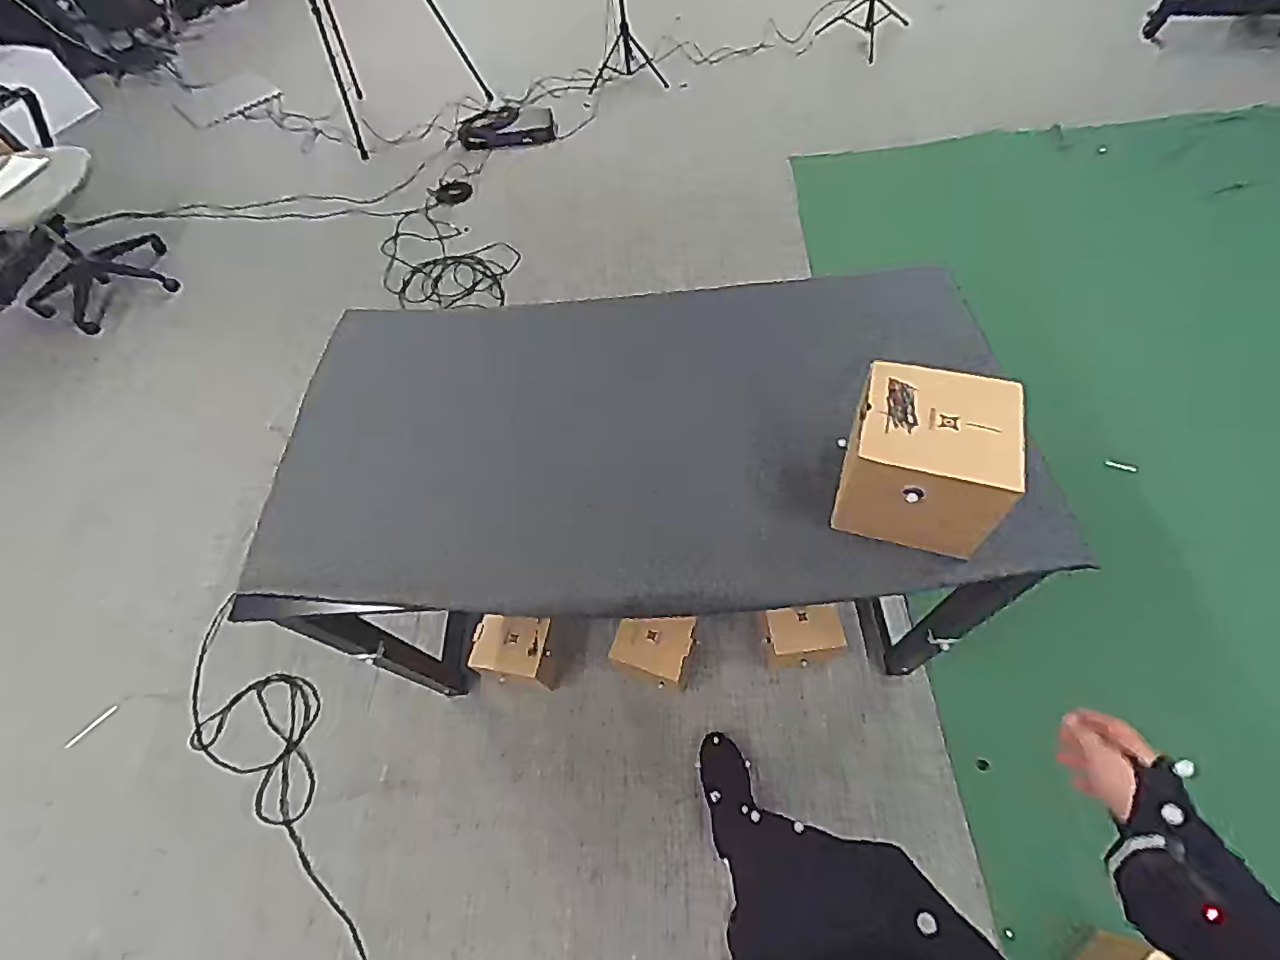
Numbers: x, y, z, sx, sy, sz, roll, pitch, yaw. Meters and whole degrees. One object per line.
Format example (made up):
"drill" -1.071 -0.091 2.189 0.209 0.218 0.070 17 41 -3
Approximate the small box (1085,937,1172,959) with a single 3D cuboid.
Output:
"small box" 0.866 0.932 0.917 0.179 0.176 0.168 -35 61 -13

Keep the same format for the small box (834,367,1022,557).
"small box" 0.362 -0.019 0.702 0.179 0.176 0.168 13 59 17

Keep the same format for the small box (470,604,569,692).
"small box" -0.299 0.433 1.382 0.179 0.176 0.168 6 60 12

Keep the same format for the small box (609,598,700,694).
"small box" 0.045 0.418 1.343 0.179 0.176 0.168 13 61 17

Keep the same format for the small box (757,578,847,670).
"small box" 0.390 0.360 1.329 0.168 0.176 0.179 -9 58 2
